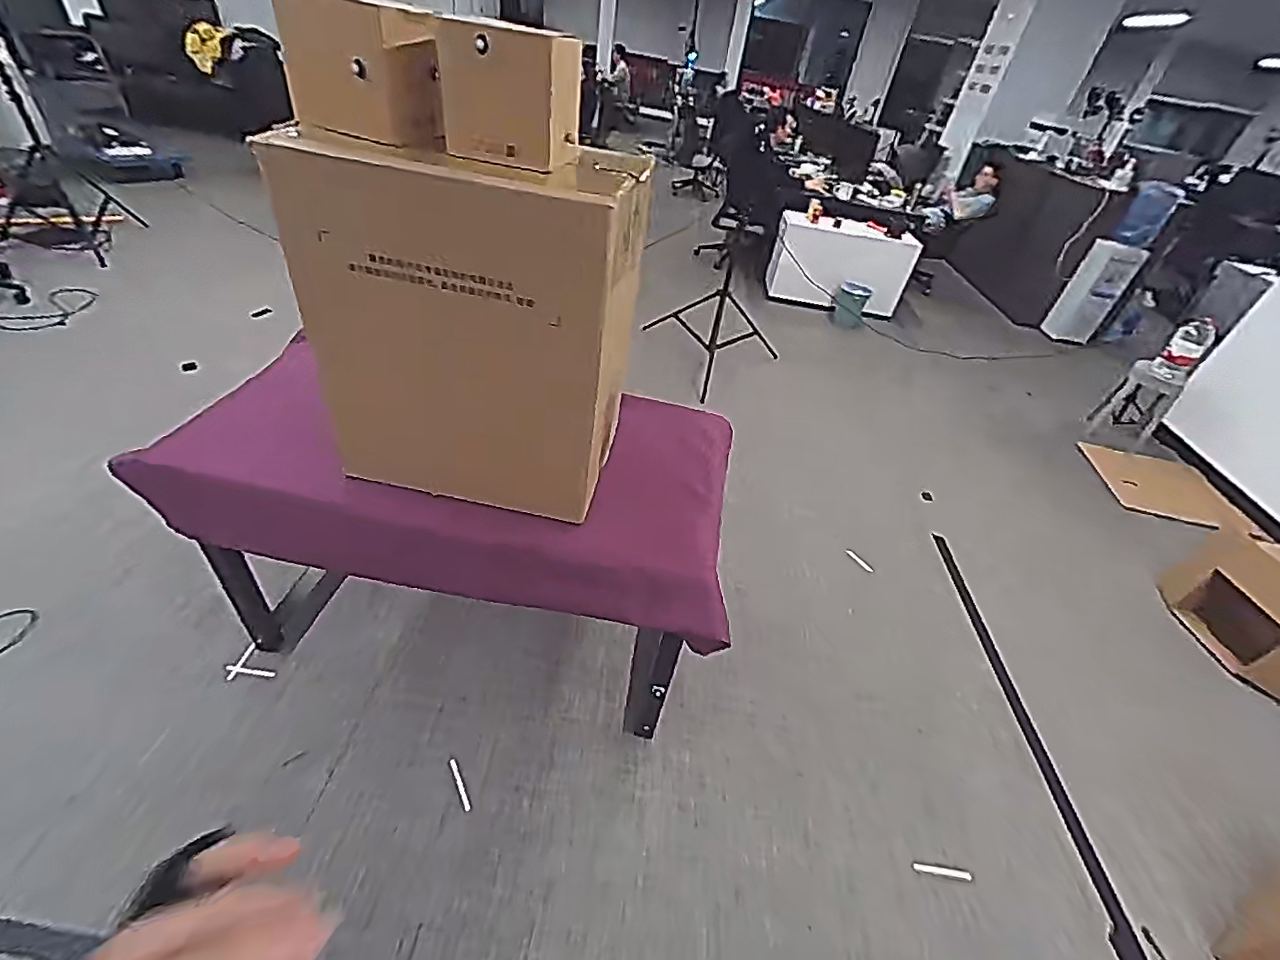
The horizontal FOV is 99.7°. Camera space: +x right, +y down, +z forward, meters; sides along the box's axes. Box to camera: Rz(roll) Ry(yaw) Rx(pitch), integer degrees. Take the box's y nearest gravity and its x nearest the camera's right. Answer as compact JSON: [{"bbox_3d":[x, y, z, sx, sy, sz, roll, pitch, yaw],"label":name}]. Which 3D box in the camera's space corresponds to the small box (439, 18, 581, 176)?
[{"bbox_3d":[-0.196,-0.594,0.847,0.168,0.176,0.179,11,38,2],"label":"small box"}]
